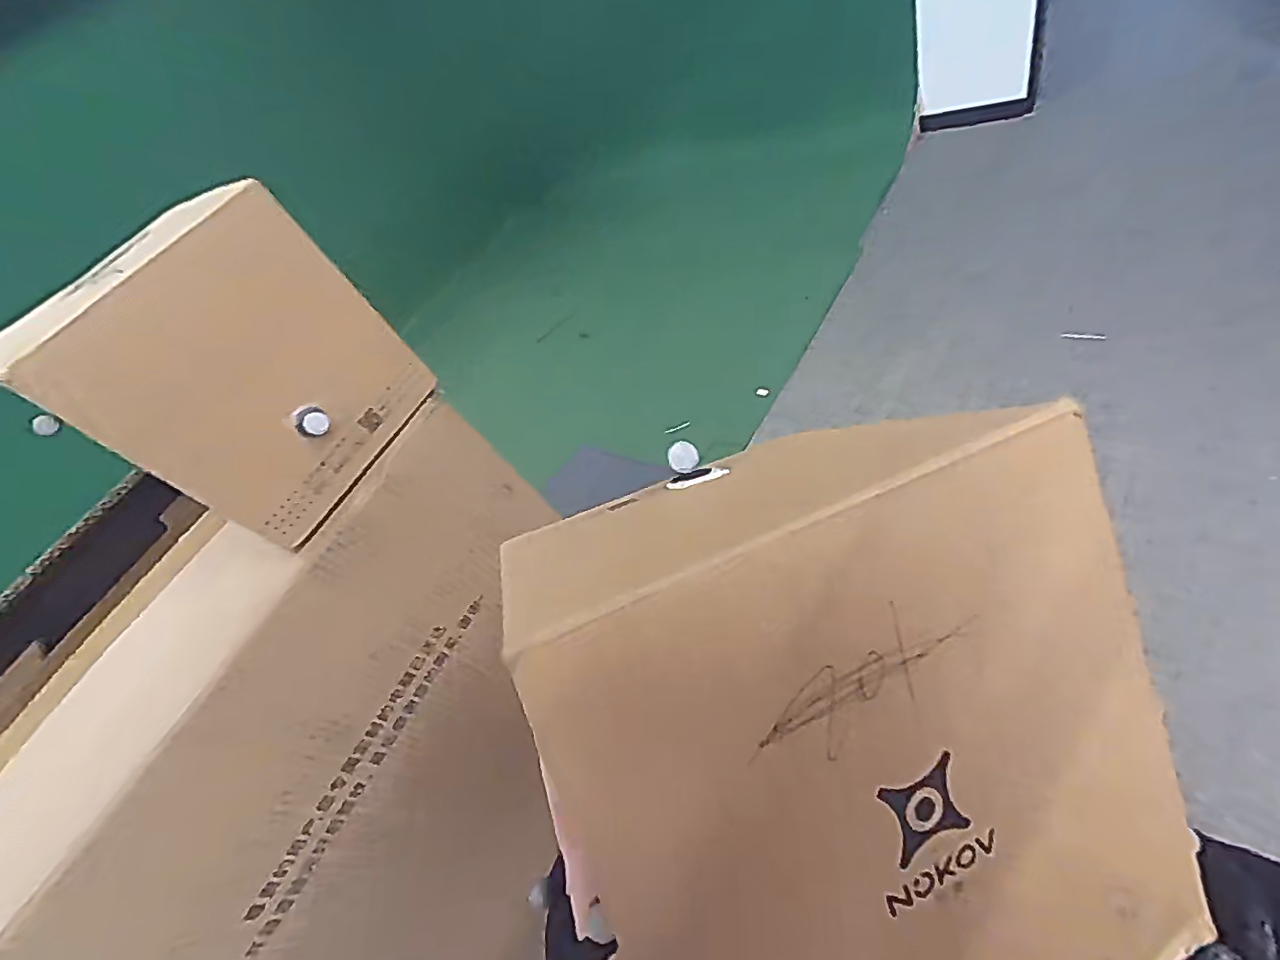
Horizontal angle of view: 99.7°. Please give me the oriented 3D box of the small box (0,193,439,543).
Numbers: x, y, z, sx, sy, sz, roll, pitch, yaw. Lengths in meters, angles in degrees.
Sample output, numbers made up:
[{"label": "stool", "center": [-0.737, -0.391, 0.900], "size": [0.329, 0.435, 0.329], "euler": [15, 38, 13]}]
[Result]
[{"label": "small box", "center": [-0.291, -0.075, 0.395], "size": [0.179, 0.176, 0.168], "euler": [14, 62, 35]}]

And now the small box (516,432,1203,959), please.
[{"label": "small box", "center": [0.056, 0.091, 0.223], "size": [0.168, 0.179, 0.176], "euler": [-21, 5, -14]}]
